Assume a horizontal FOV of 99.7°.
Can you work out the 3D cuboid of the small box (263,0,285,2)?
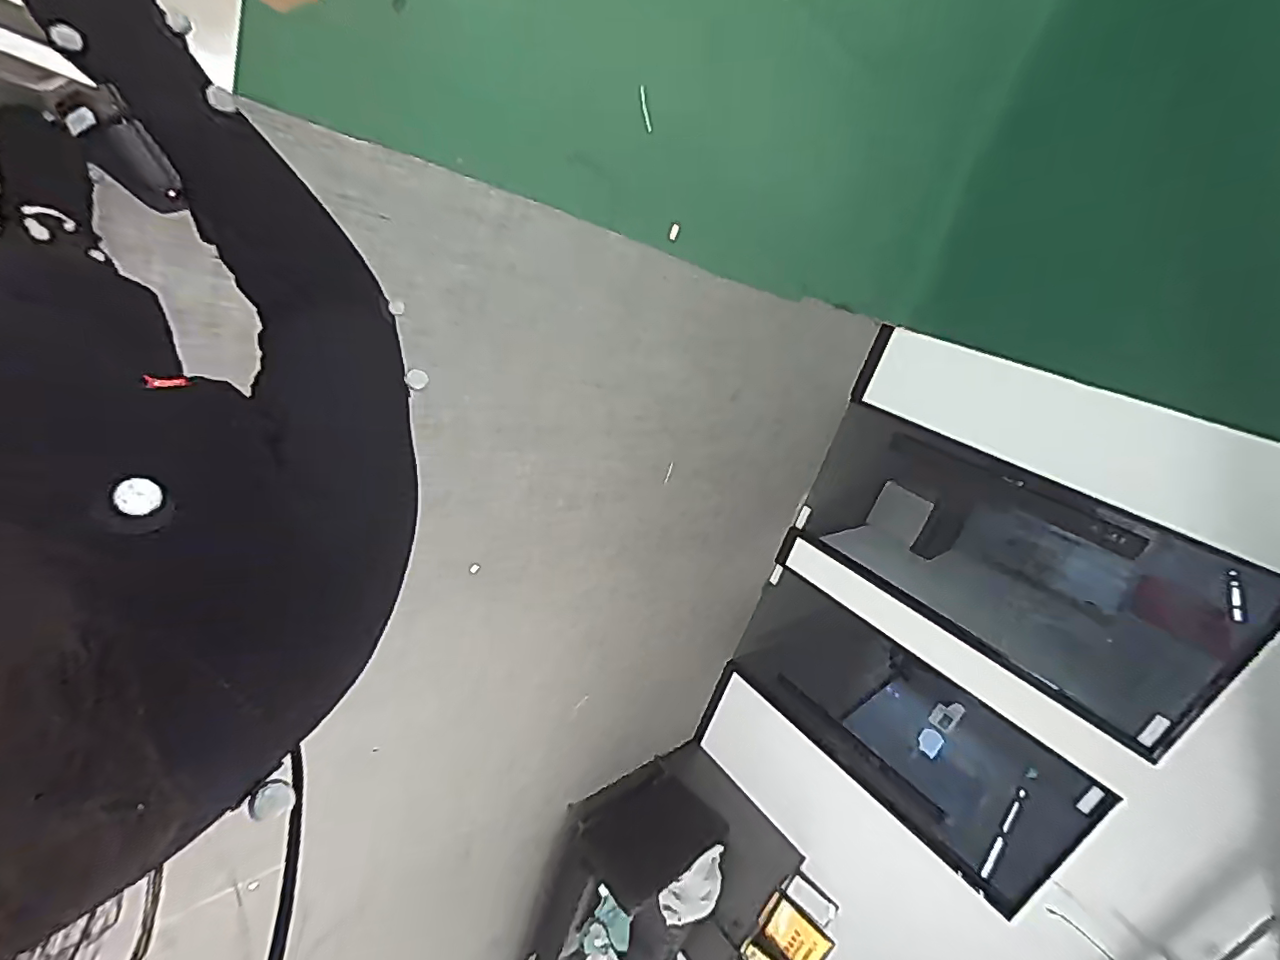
[{"bbox_3d":[-0.374,-0.555,0.462,0.179,0.176,0.168,5,115,-47],"label":"small box"}]
